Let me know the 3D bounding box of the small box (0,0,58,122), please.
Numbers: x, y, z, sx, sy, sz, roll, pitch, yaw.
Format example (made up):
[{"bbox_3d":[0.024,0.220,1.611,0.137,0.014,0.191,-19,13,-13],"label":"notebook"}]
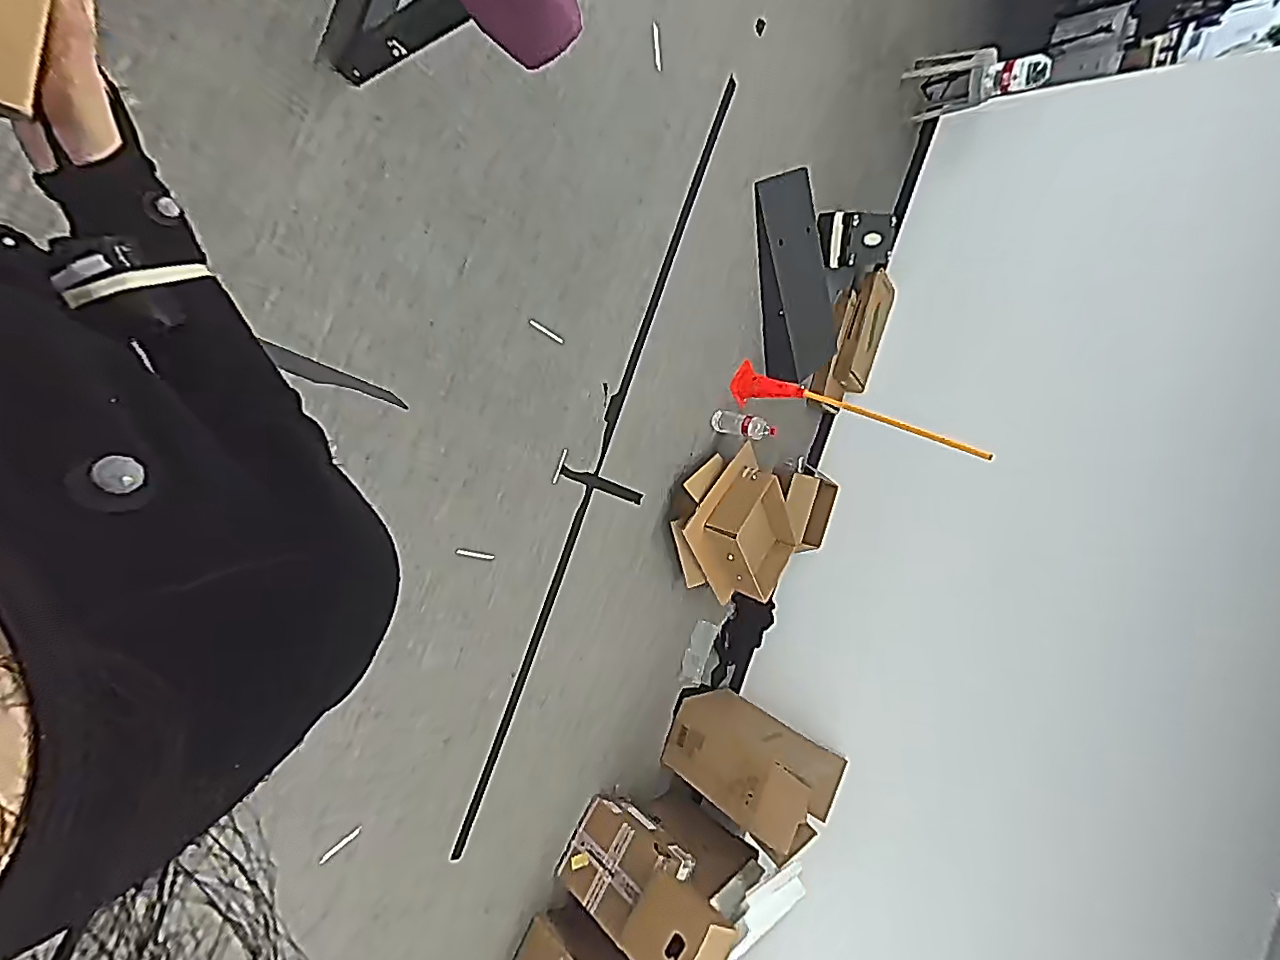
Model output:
[{"bbox_3d":[-0.412,-0.312,0.266,0.168,0.176,0.179,8,104,-57],"label":"small box"}]
